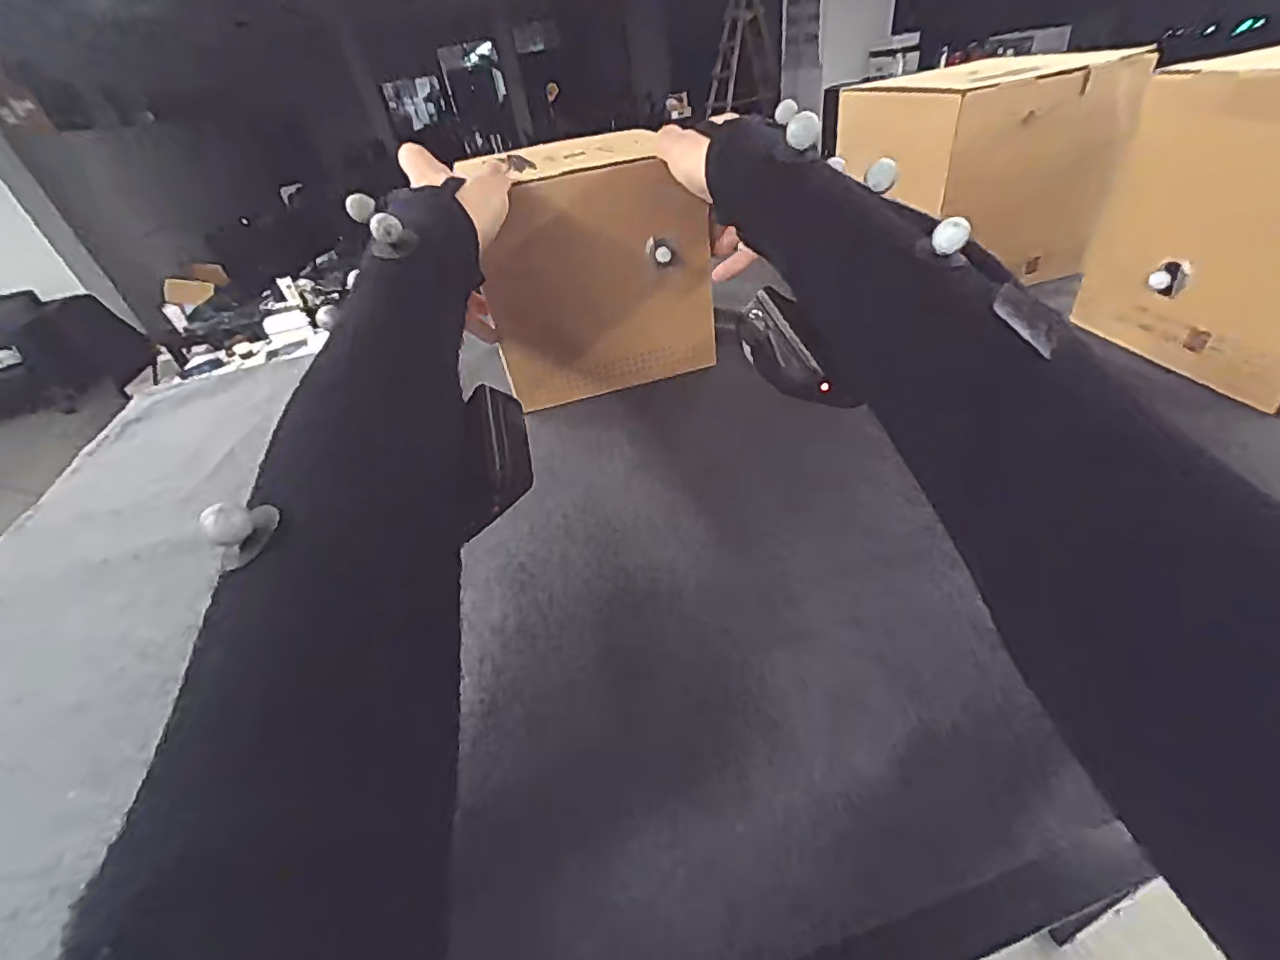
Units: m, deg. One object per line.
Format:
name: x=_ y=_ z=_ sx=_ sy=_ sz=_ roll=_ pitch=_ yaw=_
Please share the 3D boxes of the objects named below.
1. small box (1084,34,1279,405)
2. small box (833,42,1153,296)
small box: x=0.427 y=-0.164 z=0.322 sx=0.179 sy=0.176 sz=0.168 roll=-11 pitch=36 yaw=1
small box: x=0.301 y=-0.287 z=0.511 sx=0.168 sy=0.176 sz=0.179 roll=-15 pitch=37 yaw=-5
